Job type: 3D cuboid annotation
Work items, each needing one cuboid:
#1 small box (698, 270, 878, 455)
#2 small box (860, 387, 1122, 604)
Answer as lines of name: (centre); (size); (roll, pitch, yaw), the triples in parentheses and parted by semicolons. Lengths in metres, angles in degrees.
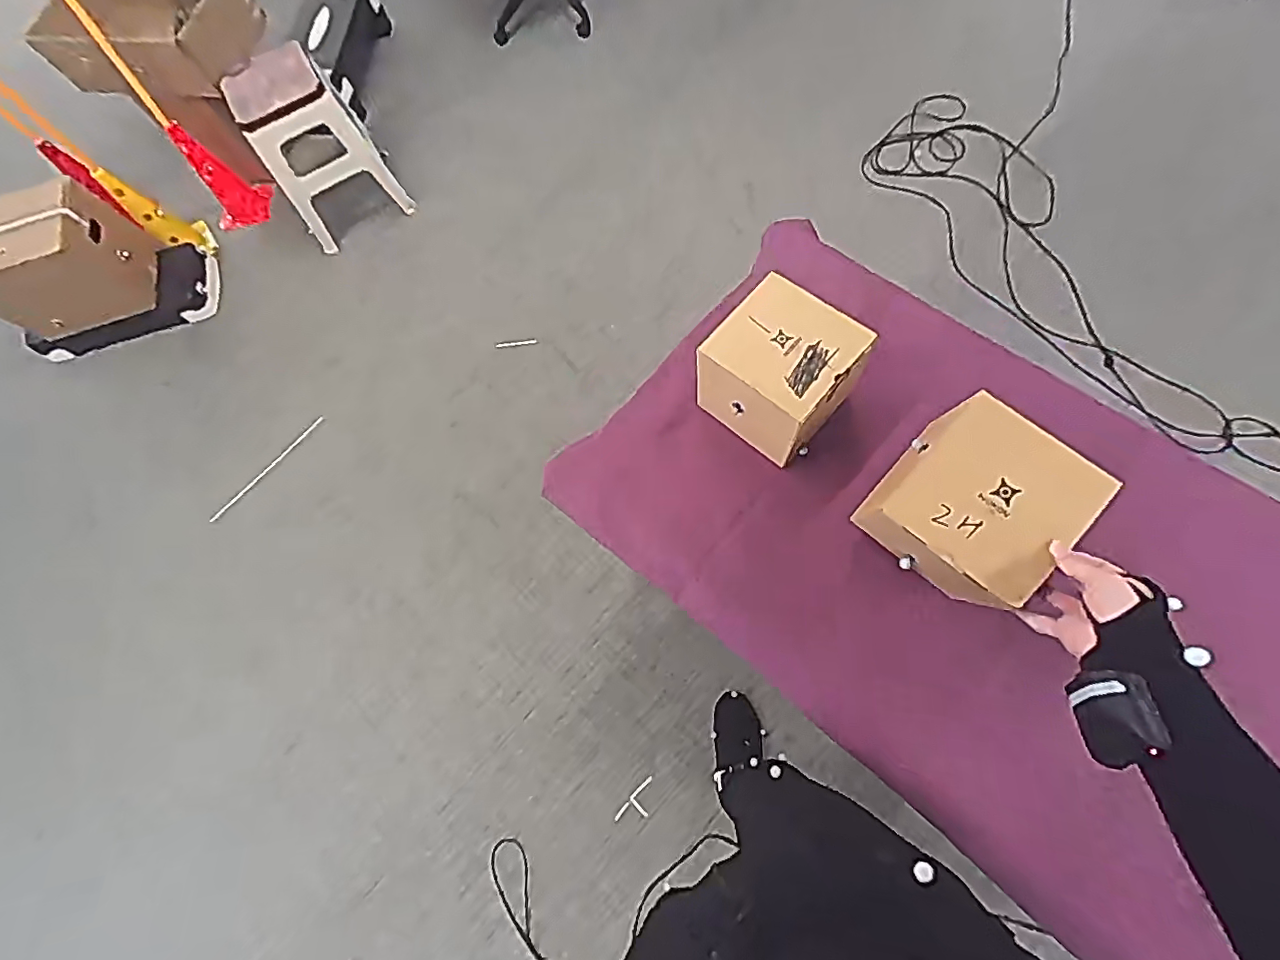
small box: (0.203, -0.157, 0.786); (0.179, 0.176, 0.168); (41, 80, 18)
small box: (0.394, 0.022, 0.649); (0.168, 0.176, 0.179); (41, 92, 12)
